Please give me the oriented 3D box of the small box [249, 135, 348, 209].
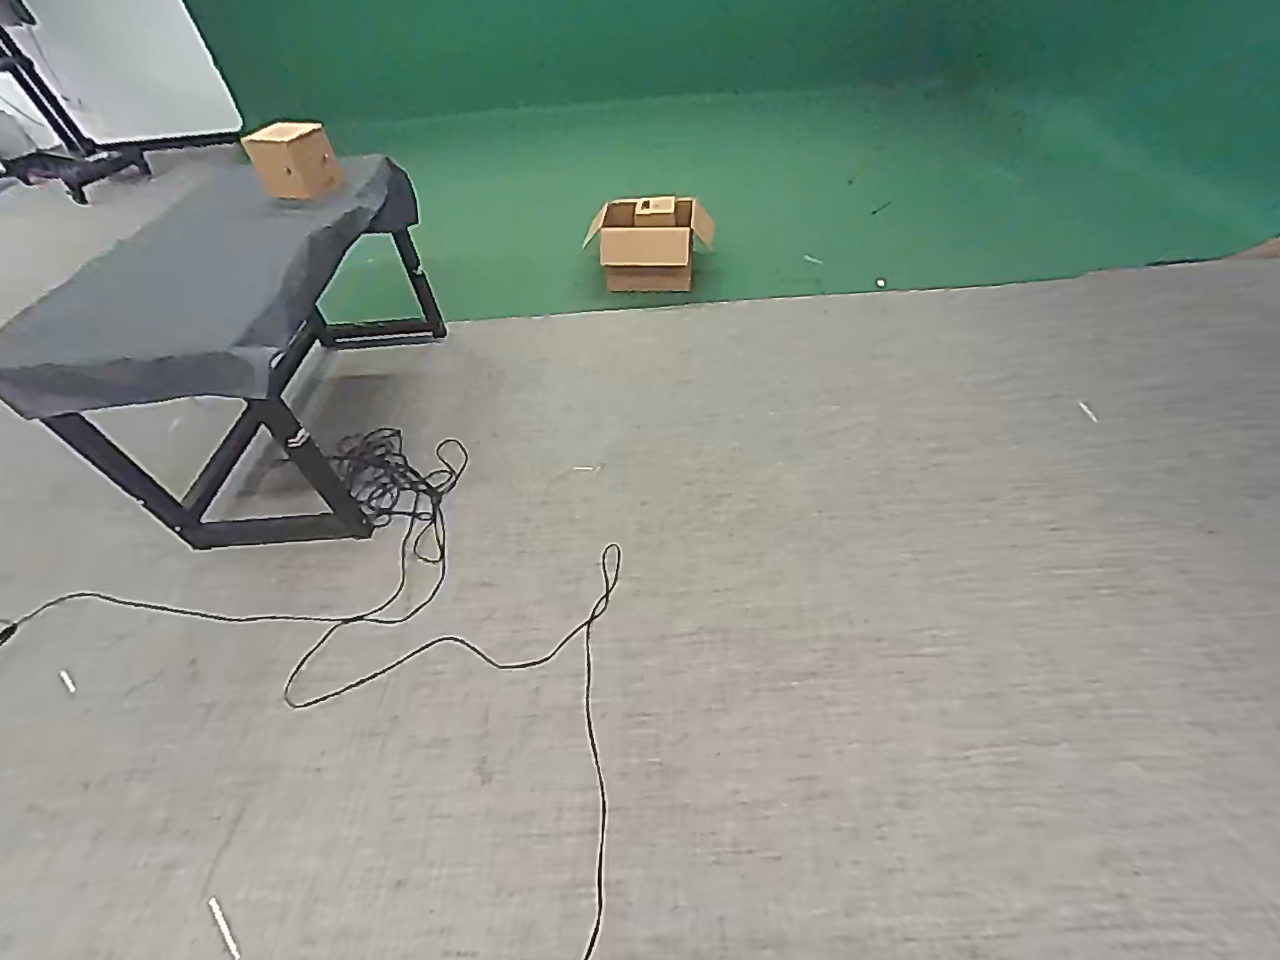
[{"bbox_3d":[-1.091,-0.993,1.746,0.179,0.176,0.168,9,48,15],"label":"small box"}]
